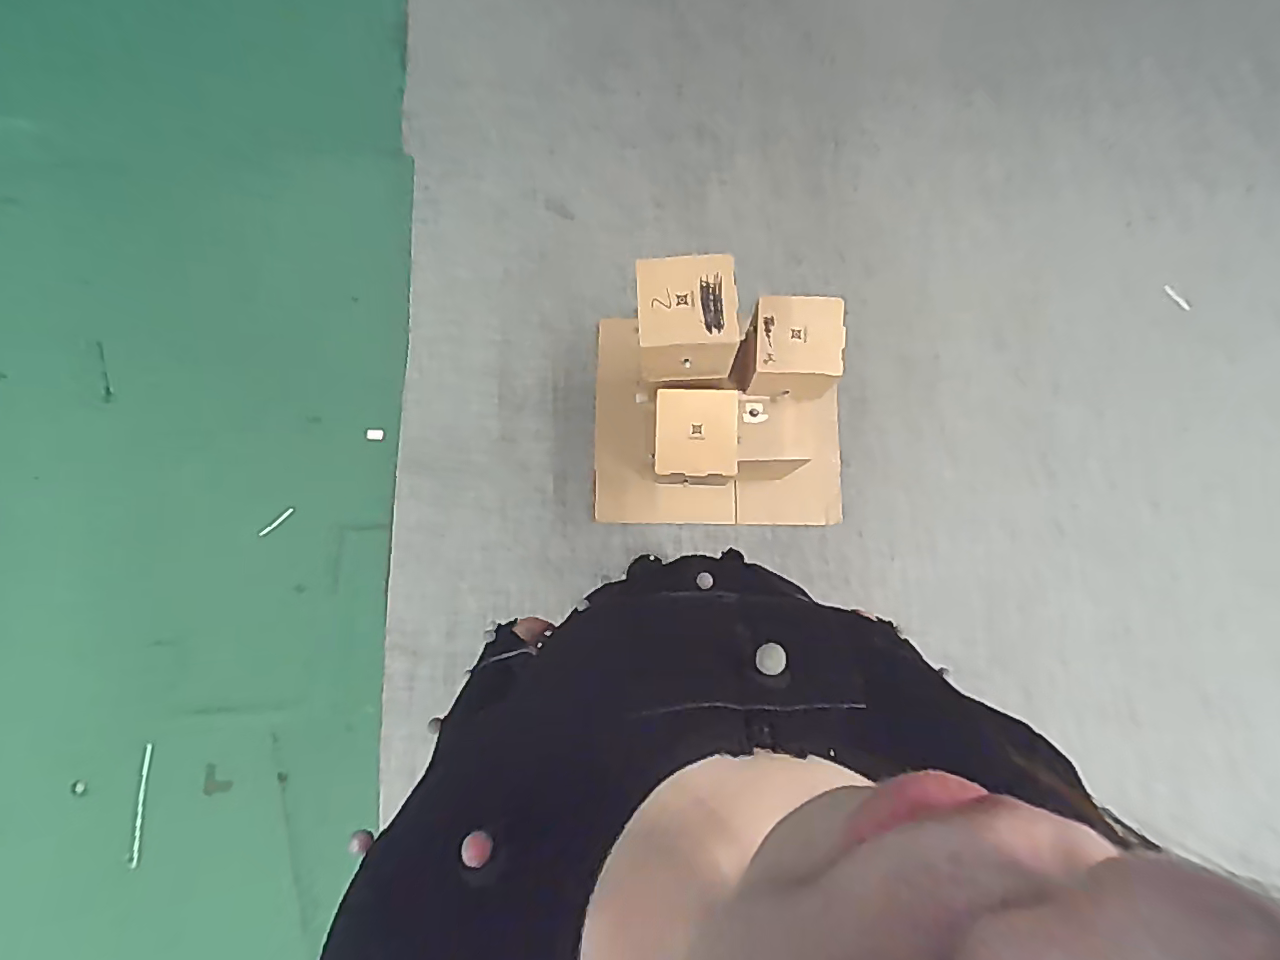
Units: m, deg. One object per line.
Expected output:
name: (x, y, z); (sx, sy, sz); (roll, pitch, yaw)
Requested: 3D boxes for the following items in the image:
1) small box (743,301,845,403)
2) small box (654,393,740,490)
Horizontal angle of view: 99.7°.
small box: (0.328, -0.270, 1.173); (0.179, 0.176, 0.168); (4, 82, 4)
small box: (0.116, -0.076, 1.151); (0.168, 0.176, 0.179); (1, 83, 1)
